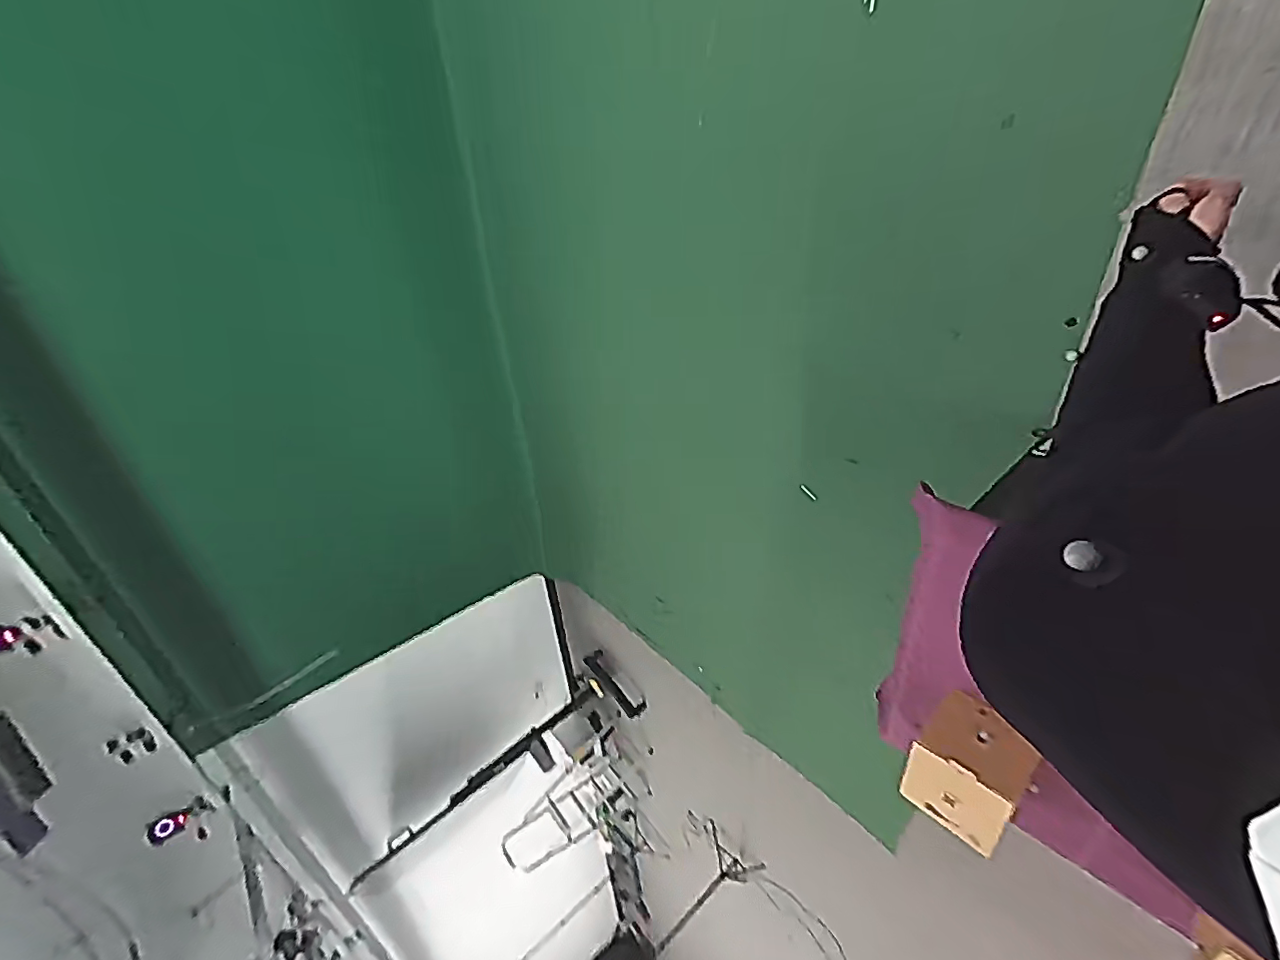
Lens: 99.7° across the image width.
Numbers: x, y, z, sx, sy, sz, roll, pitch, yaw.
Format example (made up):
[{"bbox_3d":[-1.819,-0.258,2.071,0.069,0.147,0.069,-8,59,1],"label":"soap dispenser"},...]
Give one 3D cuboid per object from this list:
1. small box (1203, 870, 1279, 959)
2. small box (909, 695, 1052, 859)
[{"bbox_3d":[0.911,0.694,0.739,0.168,0.176,0.179,27,133,45],"label":"small box"},{"bbox_3d":[0.642,0.548,1.020,0.168,0.176,0.179,28,132,43],"label":"small box"}]
